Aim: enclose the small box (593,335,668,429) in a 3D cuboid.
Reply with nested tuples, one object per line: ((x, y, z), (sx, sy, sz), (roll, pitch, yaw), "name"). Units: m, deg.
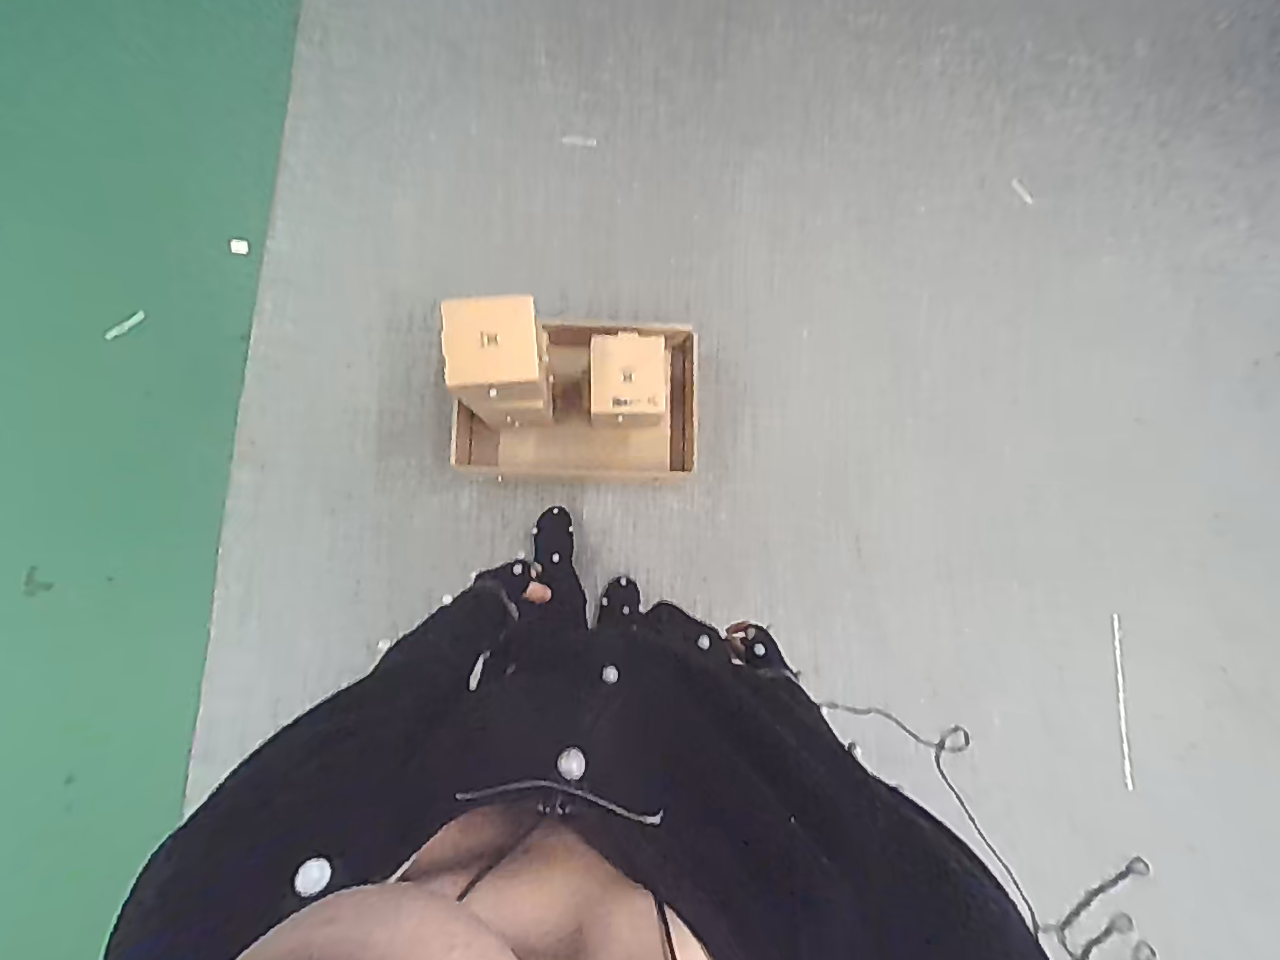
((-0.024, -0.224, 1.269), (0.168, 0.176, 0.179), (0, 83, -2), "small box")

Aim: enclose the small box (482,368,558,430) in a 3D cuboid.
((-0.310, -0.227, 1.419), (0.179, 0.176, 0.168), (-1, 84, -6), "small box")

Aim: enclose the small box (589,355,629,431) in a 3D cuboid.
((-0.039, -0.229, 1.434), (0.179, 0.176, 0.168), (-4, 84, -3), "small box")

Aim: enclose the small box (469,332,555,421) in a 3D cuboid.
((-0.290, -0.237, 1.256), (0.168, 0.176, 0.179), (2, 84, -4), "small box")

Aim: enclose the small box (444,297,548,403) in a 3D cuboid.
((-0.282, -0.256, 1.095), (0.179, 0.176, 0.168), (-5, 85, -4), "small box")
